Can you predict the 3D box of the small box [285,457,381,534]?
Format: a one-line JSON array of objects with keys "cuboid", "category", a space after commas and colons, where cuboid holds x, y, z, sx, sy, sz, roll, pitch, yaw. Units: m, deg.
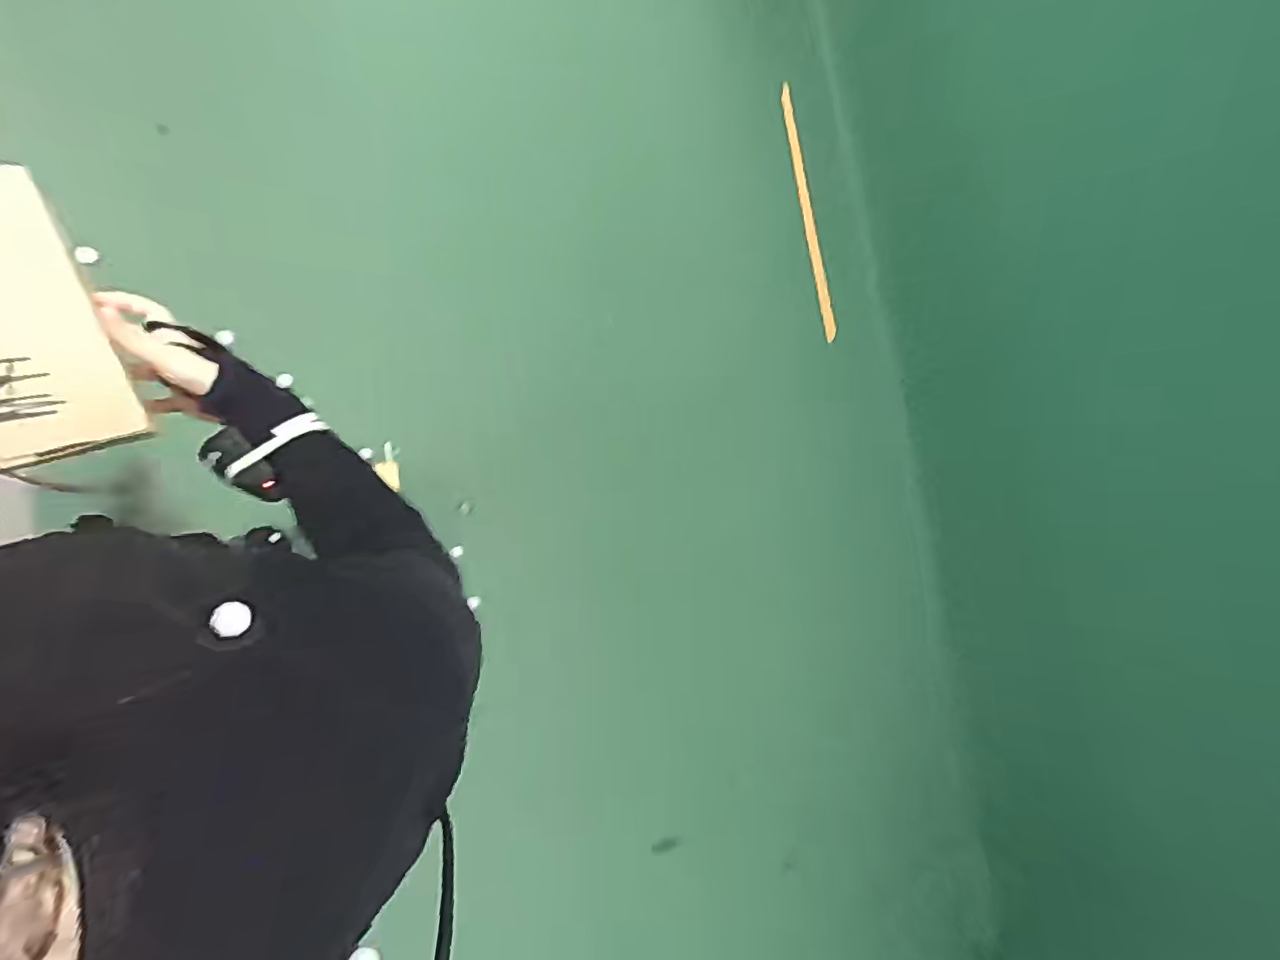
[{"cuboid": [-0.731, 0.037, 1.285, 0.179, 0.176, 0.168, -4, 87, -36], "category": "small box"}]
